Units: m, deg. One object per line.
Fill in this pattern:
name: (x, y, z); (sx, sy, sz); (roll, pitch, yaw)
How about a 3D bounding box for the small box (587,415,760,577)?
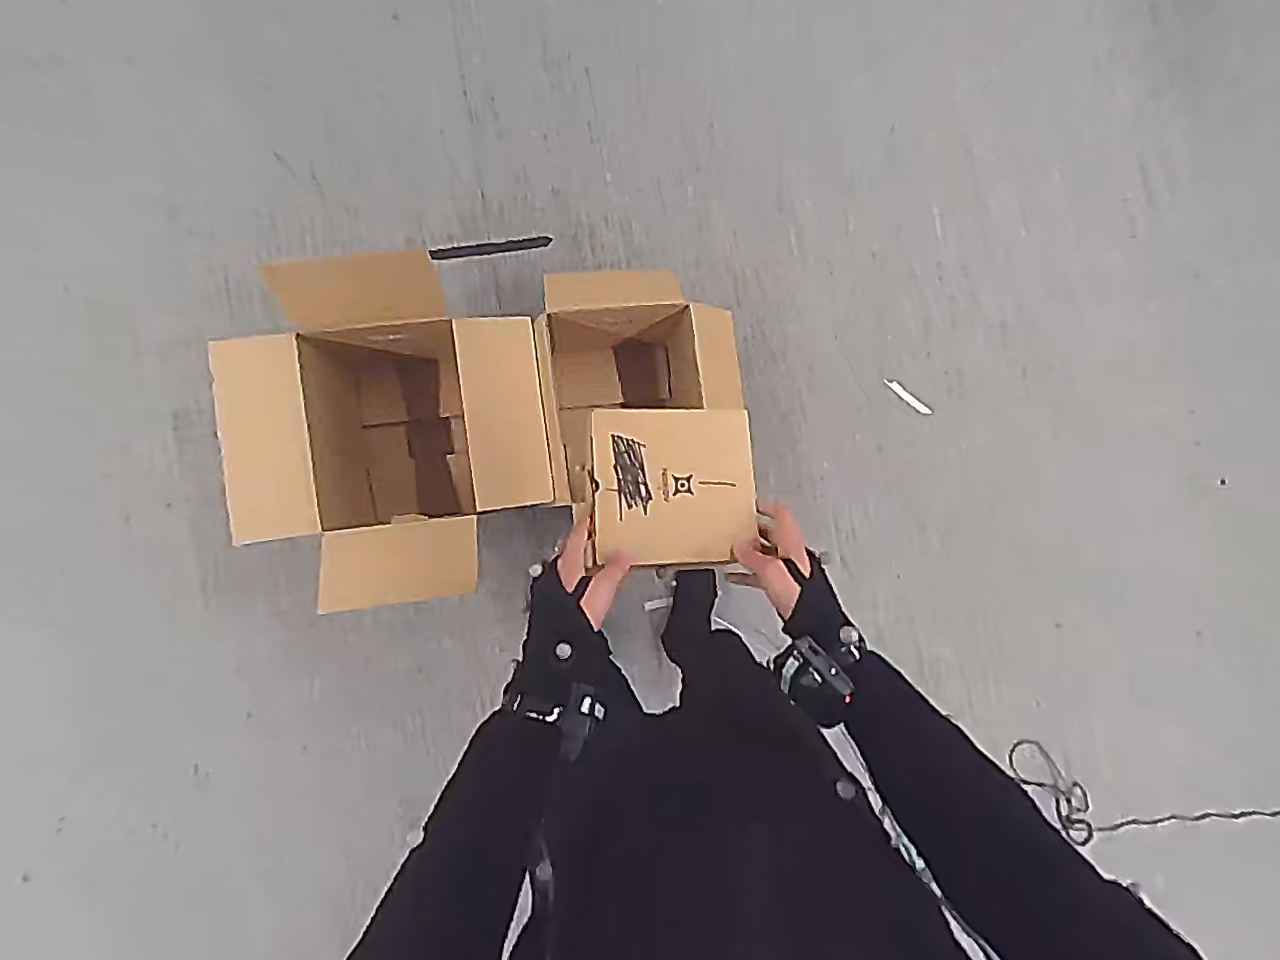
small box: (0.026, 0.027, 0.644); (0.179, 0.176, 0.168); (-1, 78, -8)
